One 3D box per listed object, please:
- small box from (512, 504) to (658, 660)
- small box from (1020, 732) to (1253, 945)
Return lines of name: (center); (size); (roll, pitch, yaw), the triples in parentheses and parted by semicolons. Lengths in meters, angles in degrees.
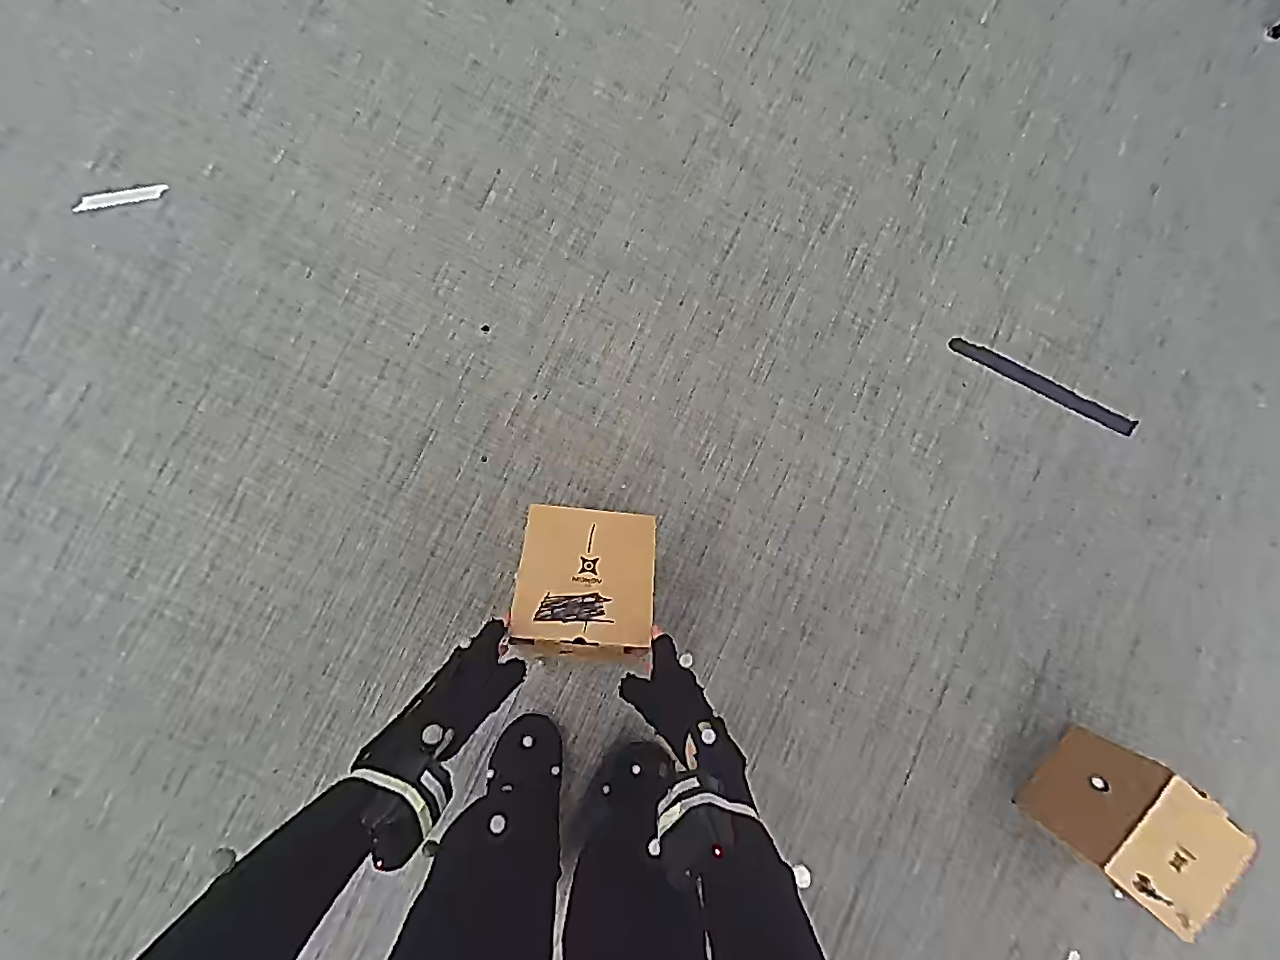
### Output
small box: (-0.071, 0.149, 0.747); (0.168, 0.176, 0.179); (7, 67, -3)
small box: (0.743, 0.530, 0.830); (0.168, 0.176, 0.179); (41, 84, -1)
